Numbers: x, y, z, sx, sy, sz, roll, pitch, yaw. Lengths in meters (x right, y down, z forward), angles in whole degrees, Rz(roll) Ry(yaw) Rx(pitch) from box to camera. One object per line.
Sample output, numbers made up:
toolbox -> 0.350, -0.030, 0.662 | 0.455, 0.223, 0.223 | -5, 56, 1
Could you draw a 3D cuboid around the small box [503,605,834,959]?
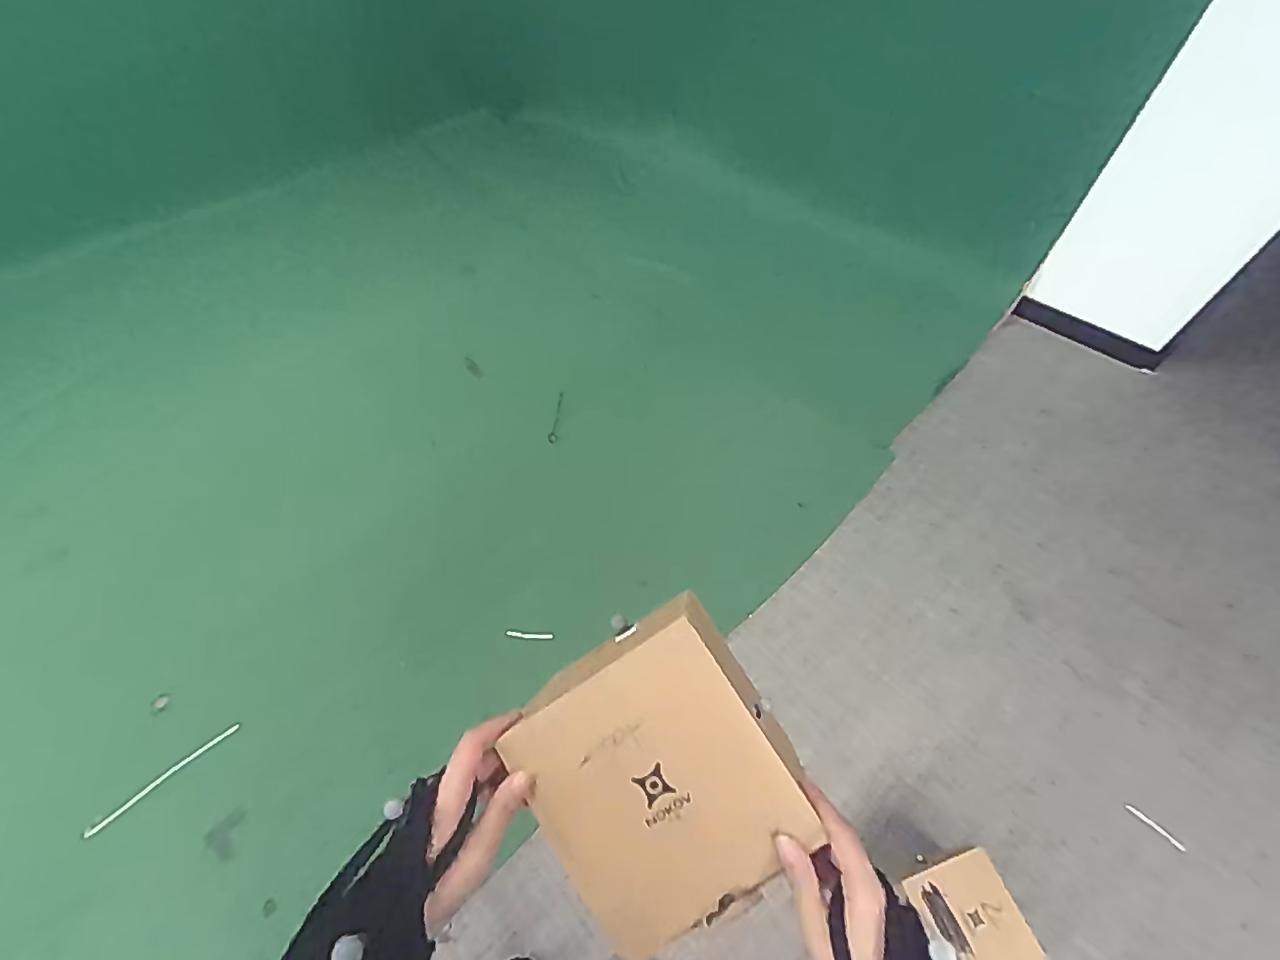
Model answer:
small box -> 0.024, 0.224, 0.446 | 0.168, 0.176, 0.179 | -34, 82, 1
